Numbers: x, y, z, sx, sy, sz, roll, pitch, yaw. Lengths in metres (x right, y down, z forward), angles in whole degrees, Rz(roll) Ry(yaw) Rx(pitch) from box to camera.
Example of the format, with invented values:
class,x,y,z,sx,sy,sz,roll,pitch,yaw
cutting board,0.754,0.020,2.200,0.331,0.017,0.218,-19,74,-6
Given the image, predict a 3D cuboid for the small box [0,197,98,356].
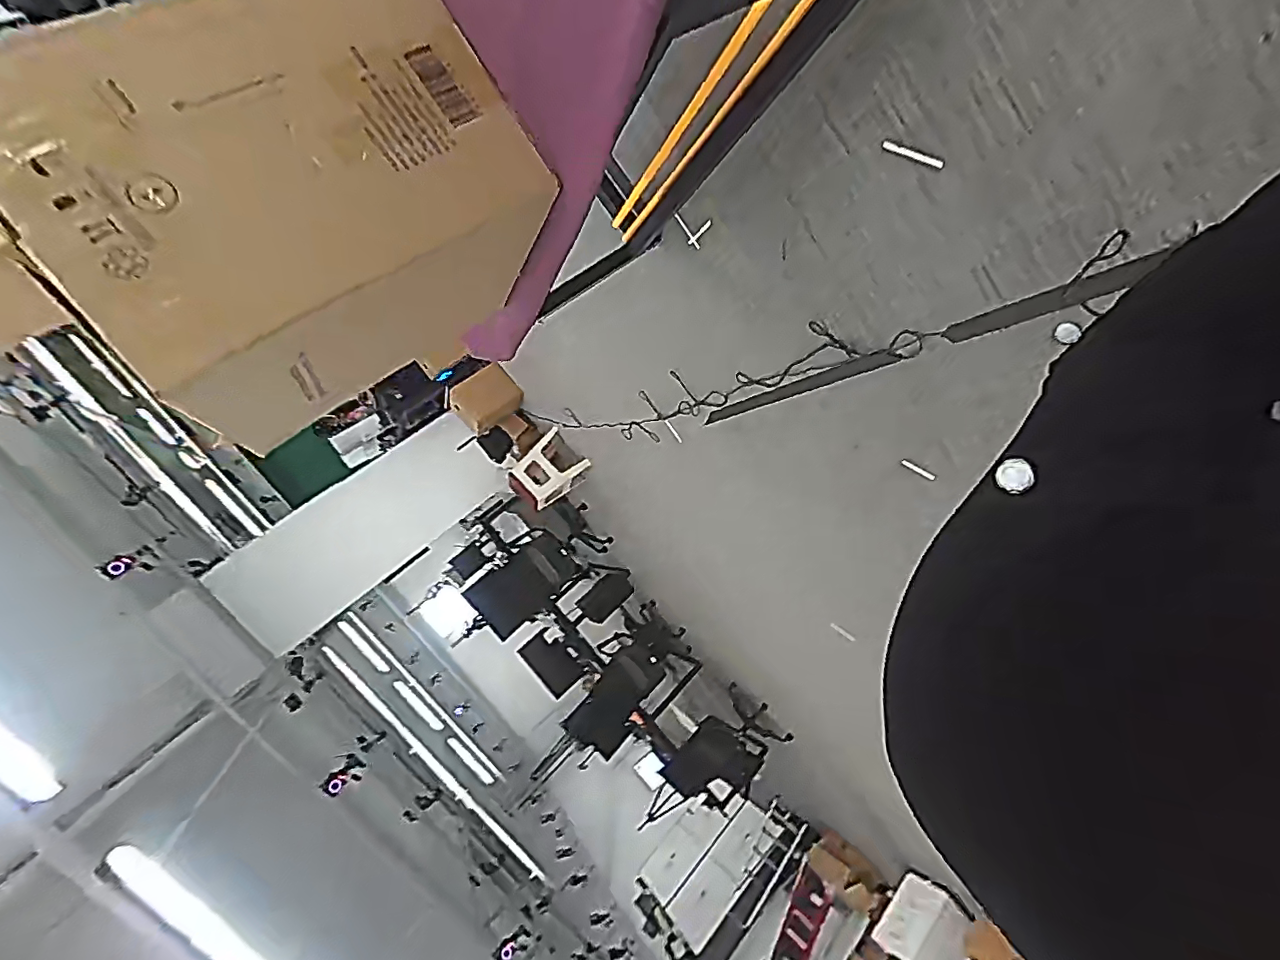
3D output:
class,x,y,z,sx,sy,sz,roll,pitch,yaw
small box,-0.832,-0.269,0.644,0.168,0.176,0.179,52,160,-6
